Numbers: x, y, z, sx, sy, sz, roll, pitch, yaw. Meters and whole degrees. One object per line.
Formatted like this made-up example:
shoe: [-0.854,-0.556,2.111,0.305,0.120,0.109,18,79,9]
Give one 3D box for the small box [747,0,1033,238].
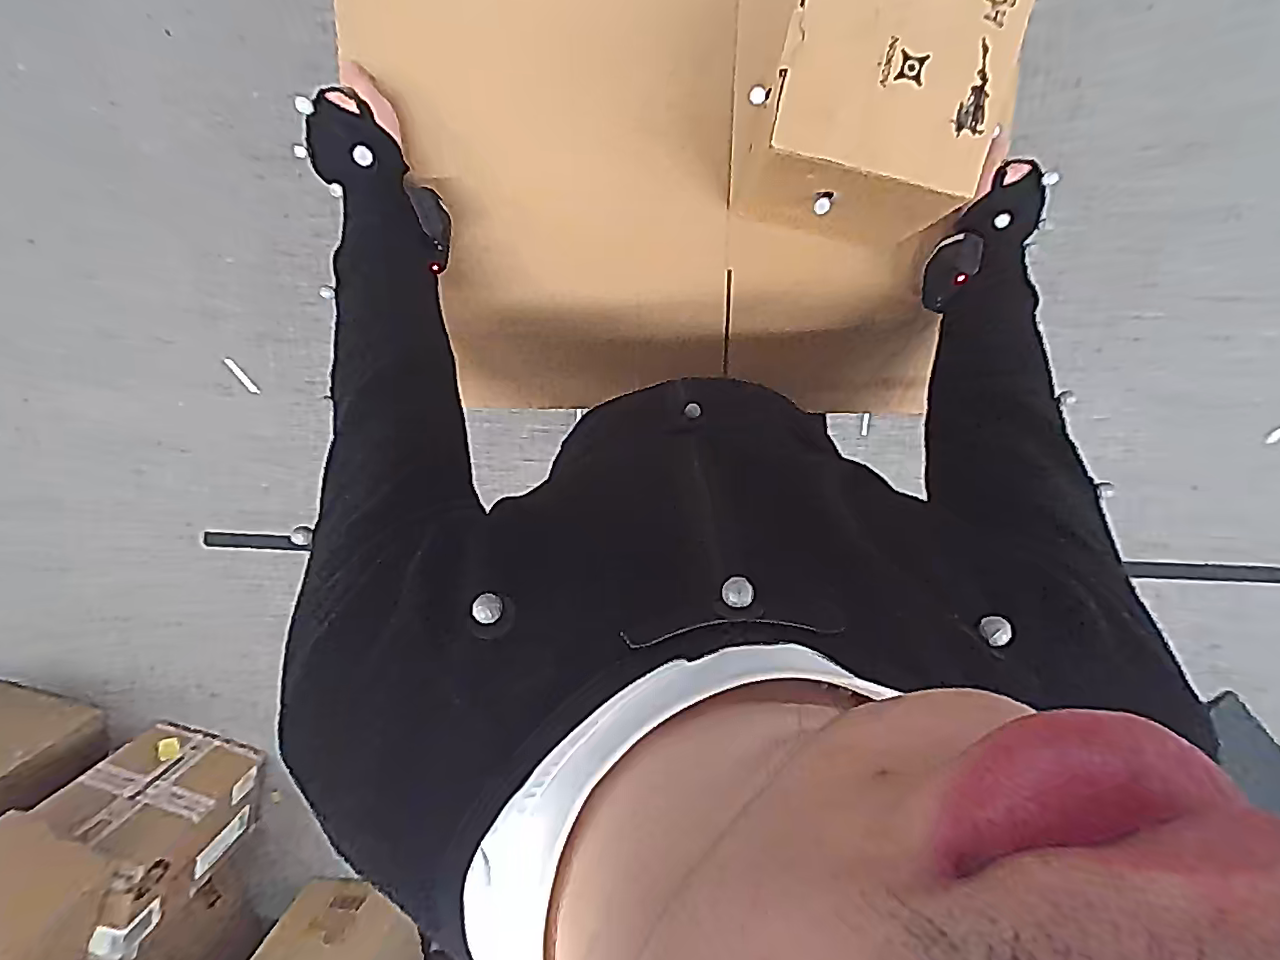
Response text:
small box: [0.211,-0.347,0.508,0.179,0.176,0.168,13,100,0]
